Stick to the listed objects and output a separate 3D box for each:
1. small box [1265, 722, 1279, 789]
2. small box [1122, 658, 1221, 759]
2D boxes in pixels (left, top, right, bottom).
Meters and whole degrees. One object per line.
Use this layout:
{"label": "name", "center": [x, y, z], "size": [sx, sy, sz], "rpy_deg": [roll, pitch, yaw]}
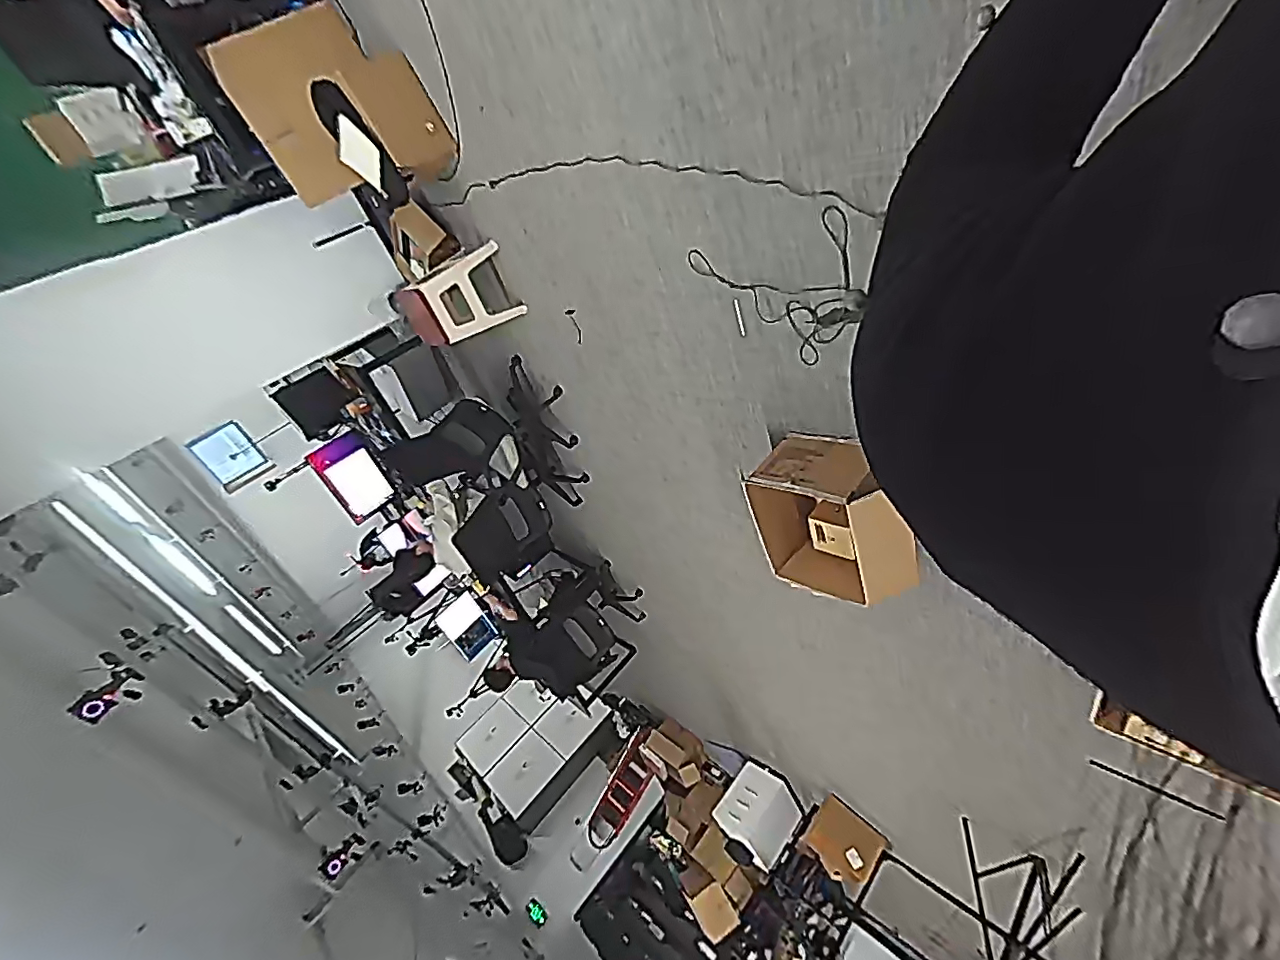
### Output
{"label": "small box", "center": [1.730, 0.704, 1.353], "size": [0.179, 0.176, 0.168], "rpy_deg": [19, 139, 45]}
{"label": "small box", "center": [1.537, 0.653, 1.563], "size": [0.168, 0.176, 0.179], "rpy_deg": [19, 138, 42]}
